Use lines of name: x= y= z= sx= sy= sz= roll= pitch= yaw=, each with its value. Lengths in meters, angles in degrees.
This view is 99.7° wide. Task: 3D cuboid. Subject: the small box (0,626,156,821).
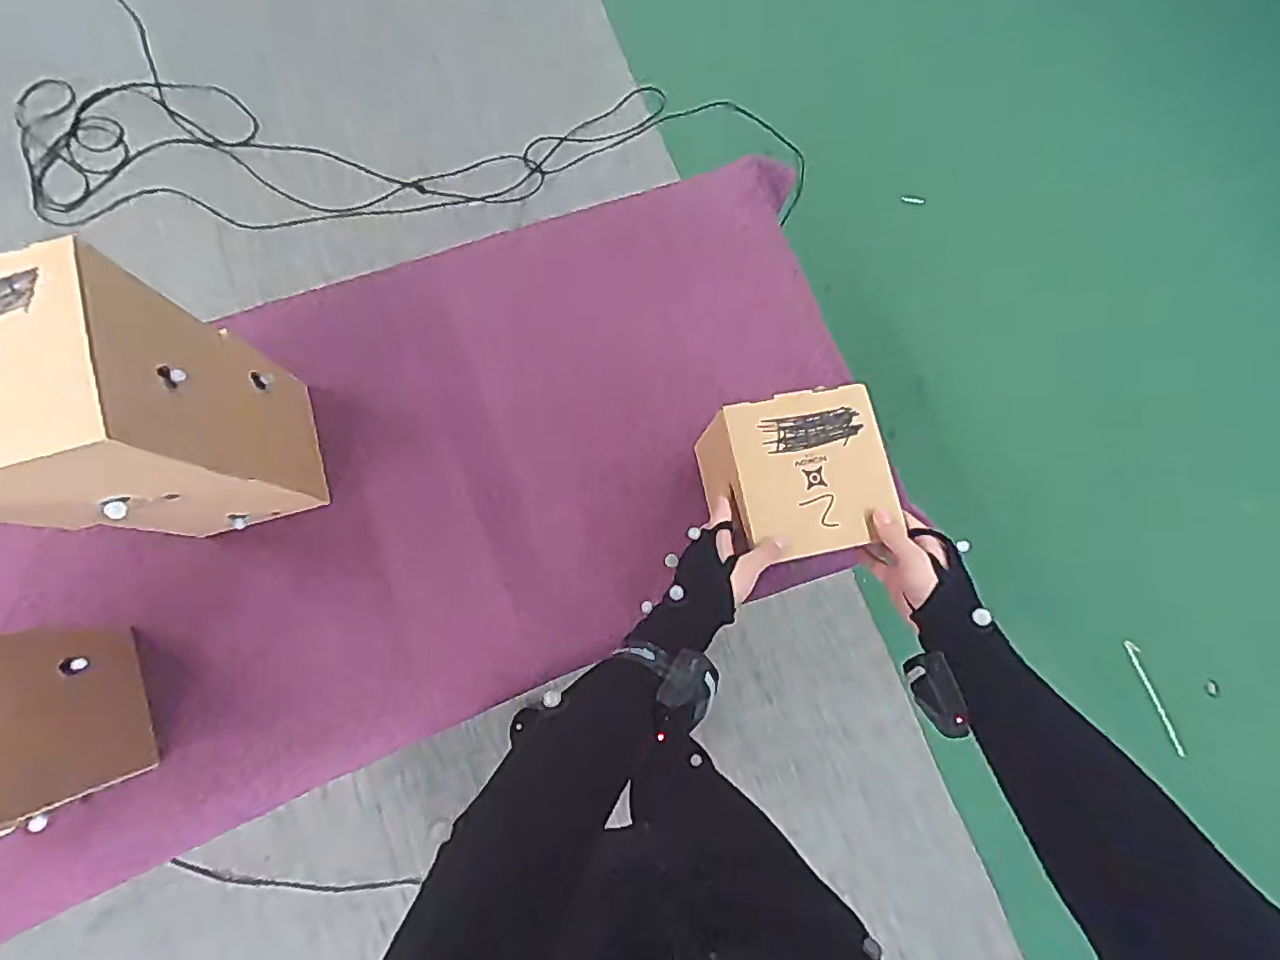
small box: x=-0.668 y=0.262 z=0.565 sx=0.168 sy=0.176 sz=0.179 roll=-20 pitch=81 yaw=-8

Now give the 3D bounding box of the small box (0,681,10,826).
small box: x=-0.650 y=0.235 z=0.406 sx=0.168 sy=0.176 sz=0.179 roll=-20 pitch=79 yaw=-7

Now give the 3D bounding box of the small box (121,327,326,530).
small box: x=-0.505 y=-0.050 z=0.638 sx=0.168 sy=0.176 sz=0.179 roll=-15 pitch=81 yaw=-7

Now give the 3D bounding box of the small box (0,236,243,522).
small box: x=-0.496 y=-0.073 z=0.476 sx=0.168 sy=0.176 sz=0.179 roll=-17 pitch=82 yaw=-7
